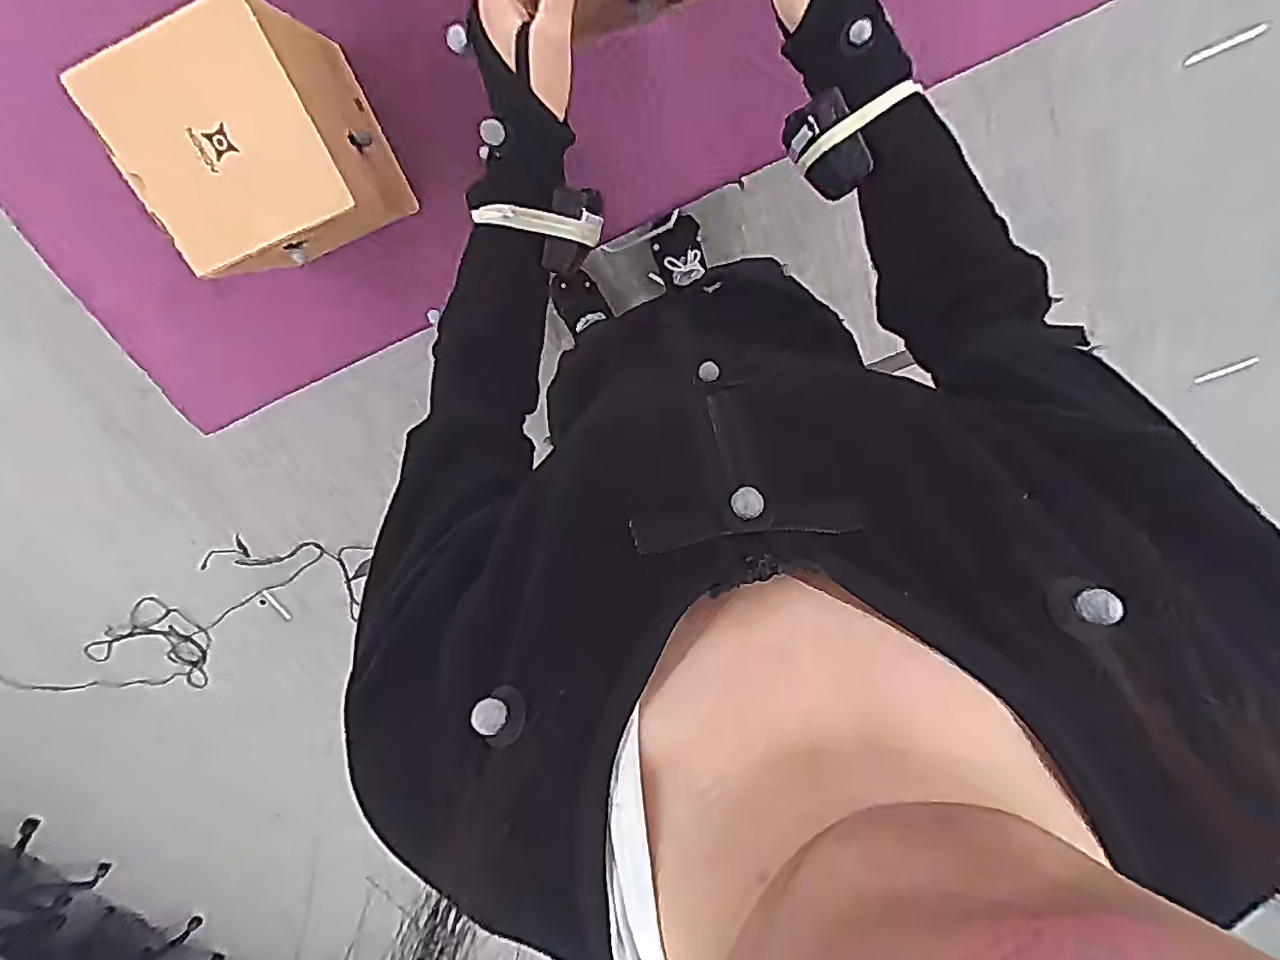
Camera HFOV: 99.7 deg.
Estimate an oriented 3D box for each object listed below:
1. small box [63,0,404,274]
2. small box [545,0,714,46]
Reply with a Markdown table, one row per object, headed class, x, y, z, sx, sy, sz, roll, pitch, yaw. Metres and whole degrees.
| class | x | y | z | sx | sy | sz | roll | pitch | yaw |
| --- | --- | --- | --- | --- | --- | --- | --- | --- | --- |
| small box | -0.360 | -0.323 | 0.528 | 0.179 | 0.176 | 0.168 | -19 | 116 | 9 |
| small box | -0.014 | -0.445 | 0.363 | 0.168 | 0.176 | 0.179 | -15 | 112 | 6 |
